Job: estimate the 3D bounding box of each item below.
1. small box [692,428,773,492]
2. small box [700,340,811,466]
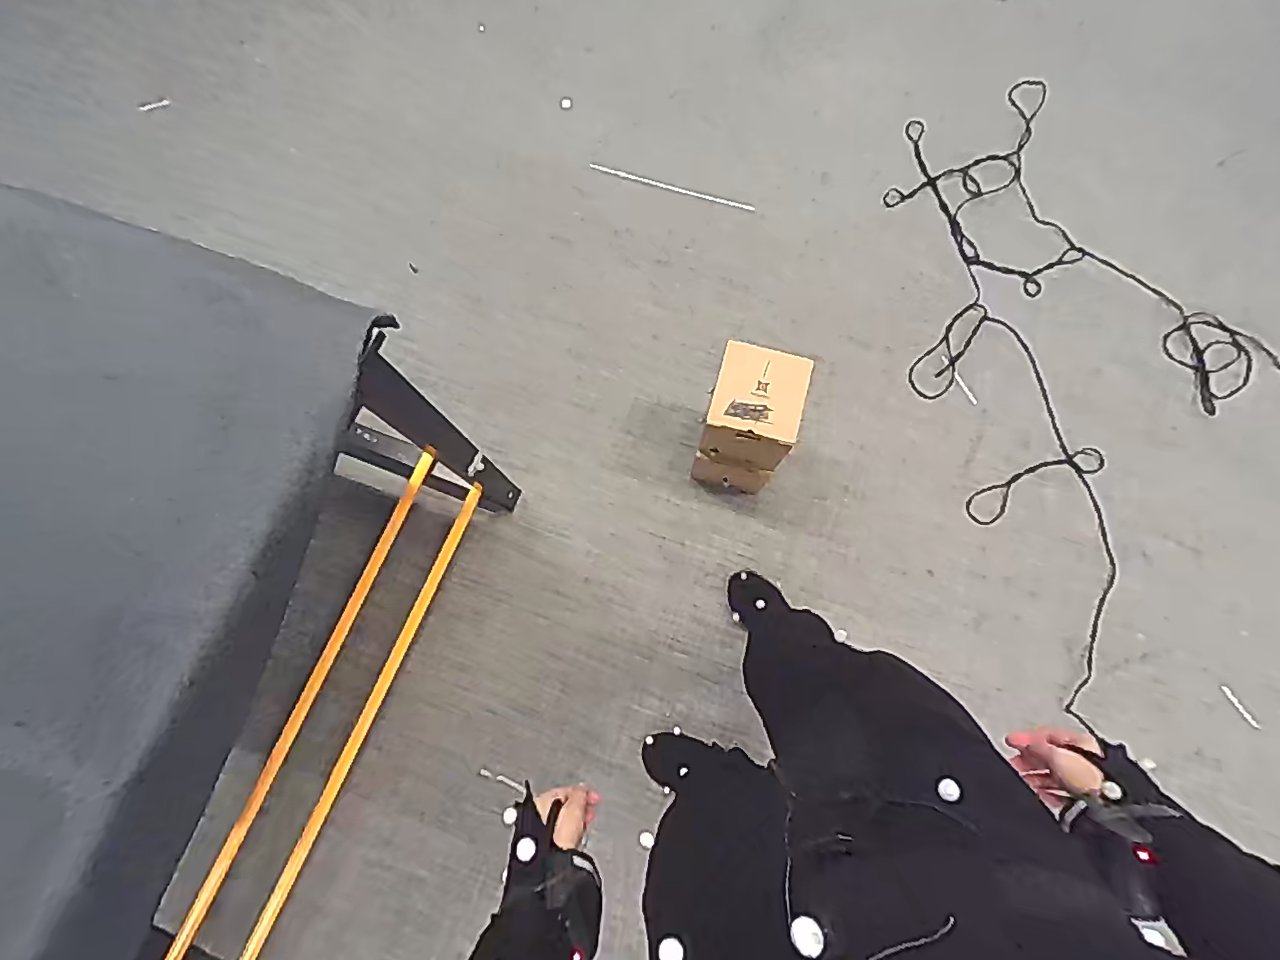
[{"bbox_3d":[0.218,-0.090,1.223,0.168,0.176,0.179,14,76,5],"label":"small box"},{"bbox_3d":[0.219,-0.143,1.067,0.168,0.176,0.179,15,75,5],"label":"small box"}]
